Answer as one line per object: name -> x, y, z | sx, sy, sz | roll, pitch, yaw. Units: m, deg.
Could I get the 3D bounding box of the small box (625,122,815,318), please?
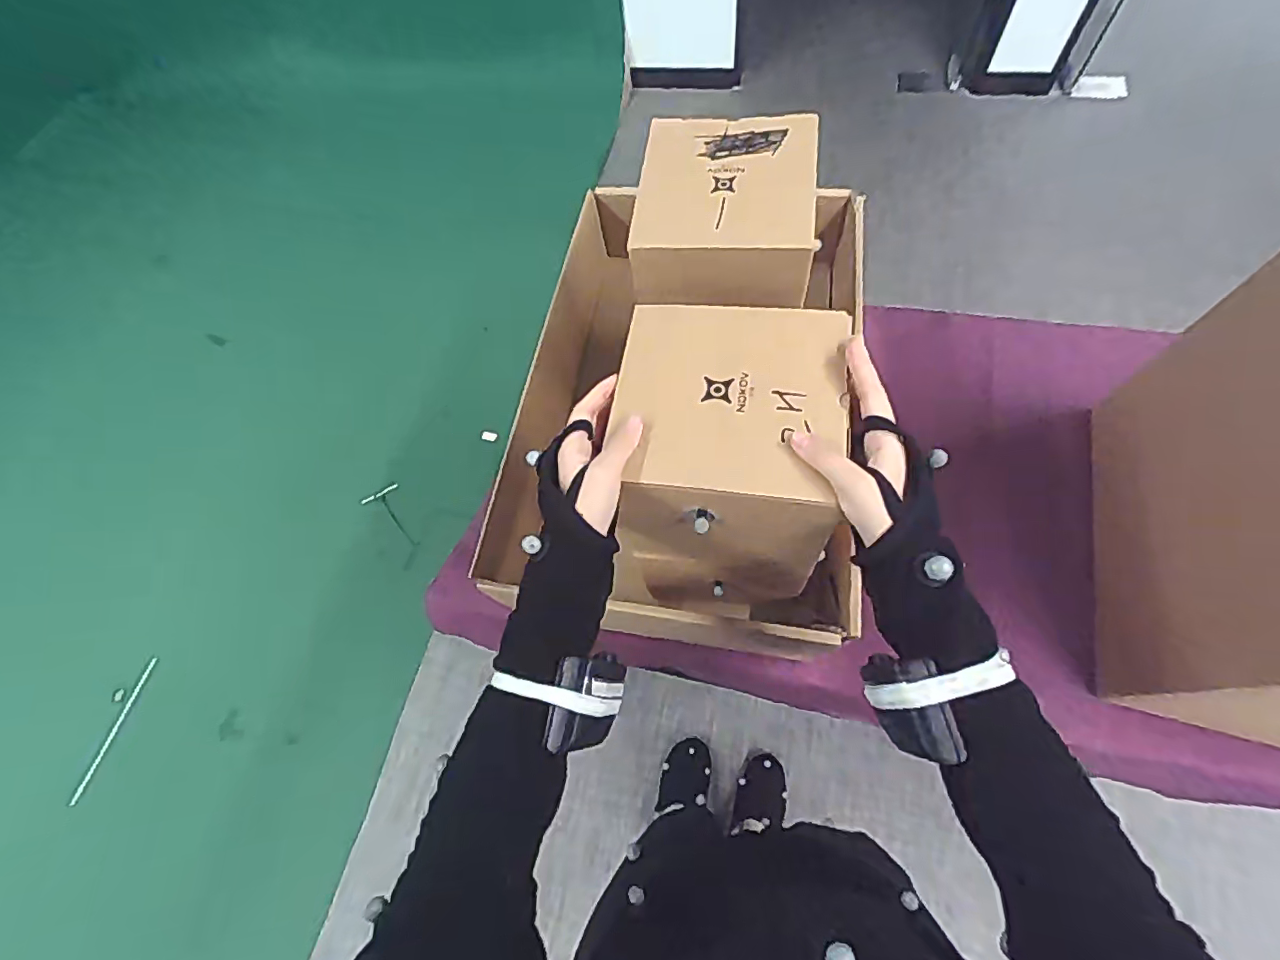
small box -> 0.088, -0.244, 0.579 | 0.168, 0.176, 0.179 | 5, 68, 11

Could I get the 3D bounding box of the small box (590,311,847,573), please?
small box -> 0.073, -0.025, 0.477 | 0.179, 0.176, 0.168 | 7, 67, 11
